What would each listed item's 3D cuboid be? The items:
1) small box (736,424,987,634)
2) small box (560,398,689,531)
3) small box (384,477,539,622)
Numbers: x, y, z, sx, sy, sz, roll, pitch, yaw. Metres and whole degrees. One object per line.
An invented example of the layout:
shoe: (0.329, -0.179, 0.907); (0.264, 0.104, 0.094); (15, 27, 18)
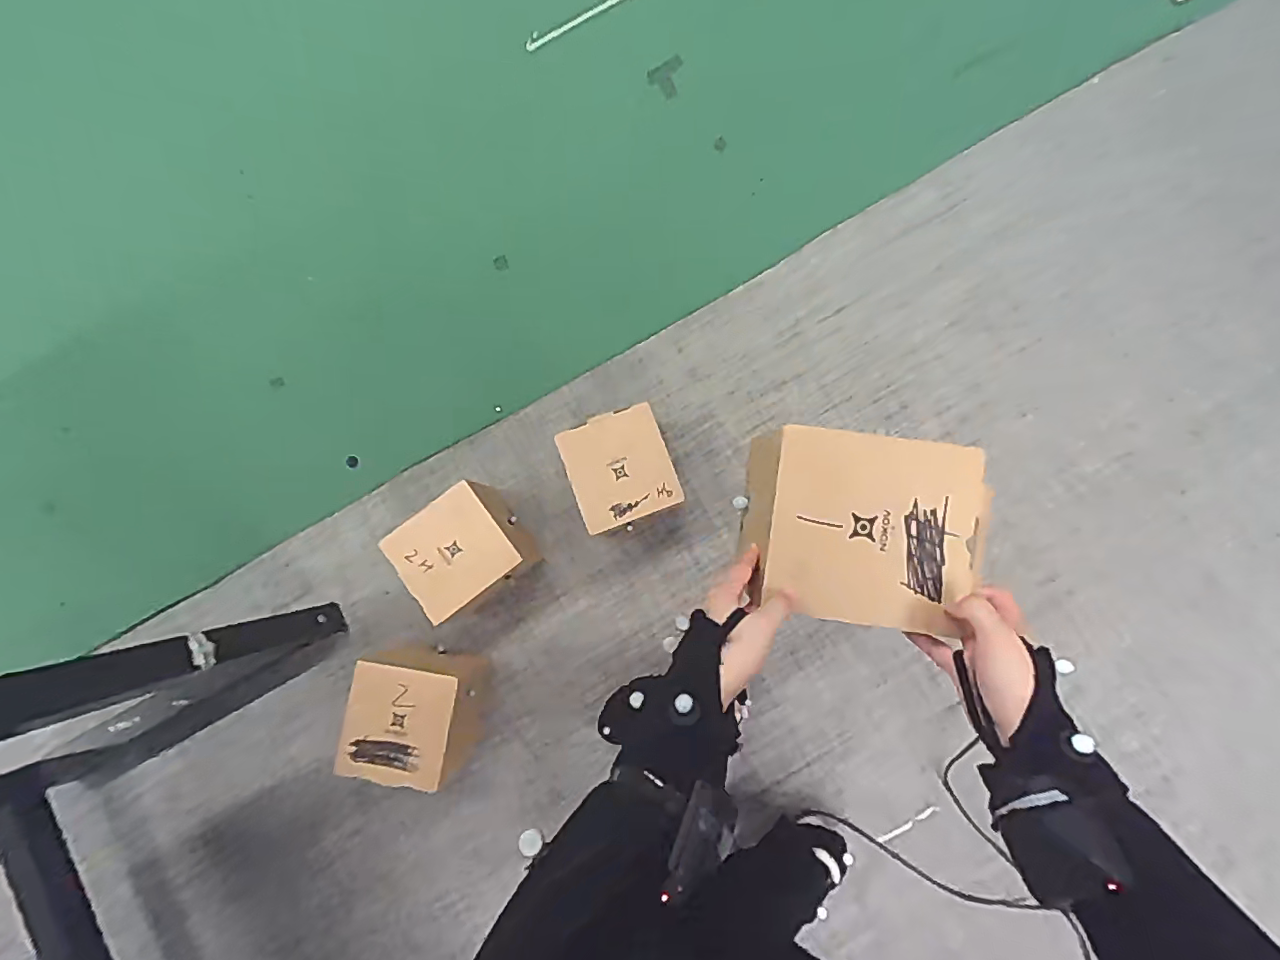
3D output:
small box: (0.207, 0.043, 0.551); (0.179, 0.176, 0.168); (8, 90, 2)
small box: (-0.026, -0.018, 0.938); (0.168, 0.176, 0.179); (-20, 84, -1)
small box: (-0.291, 0.115, 0.933); (0.179, 0.176, 0.168); (-37, 84, -2)
